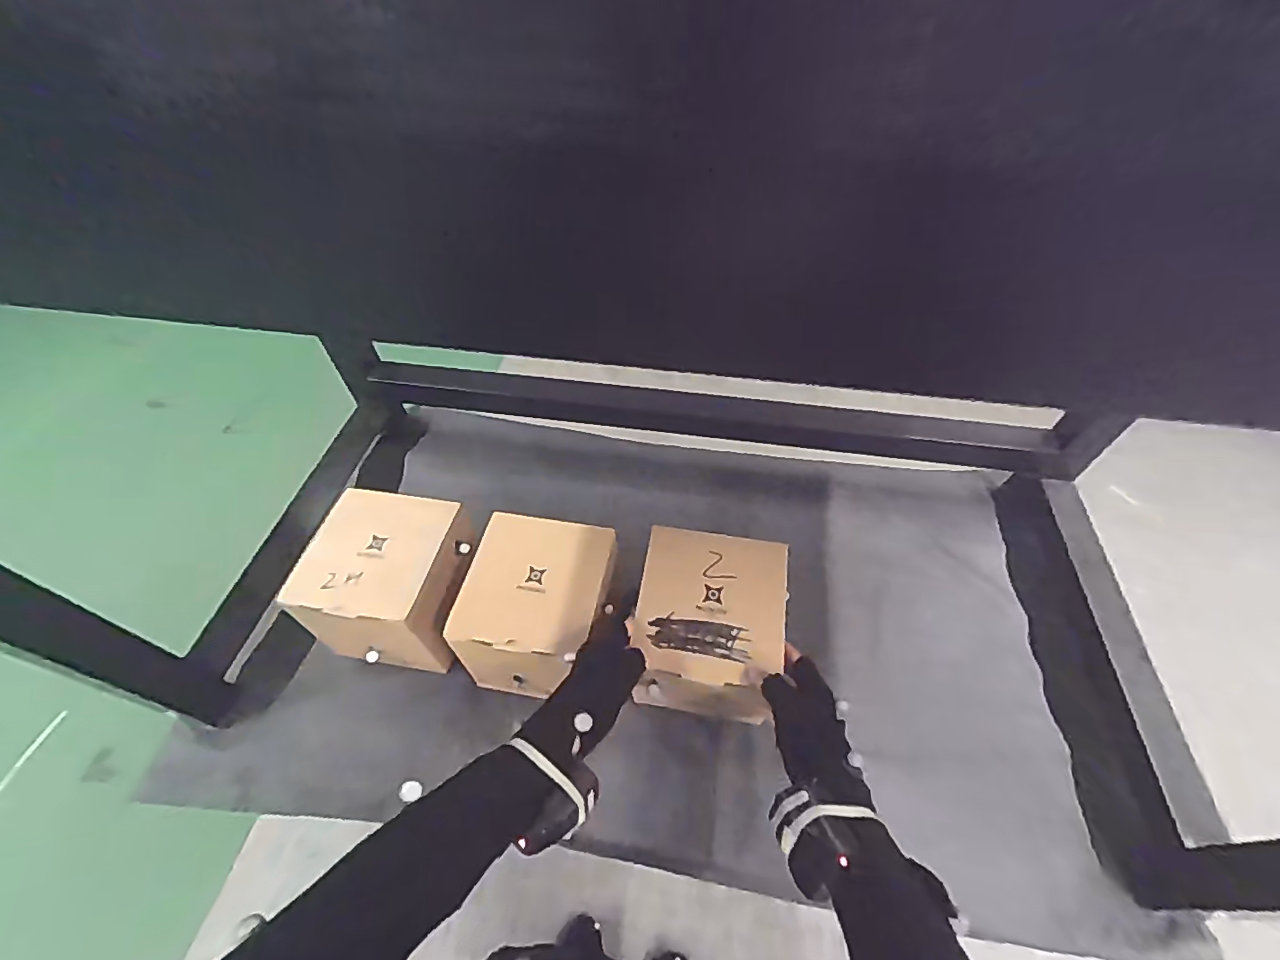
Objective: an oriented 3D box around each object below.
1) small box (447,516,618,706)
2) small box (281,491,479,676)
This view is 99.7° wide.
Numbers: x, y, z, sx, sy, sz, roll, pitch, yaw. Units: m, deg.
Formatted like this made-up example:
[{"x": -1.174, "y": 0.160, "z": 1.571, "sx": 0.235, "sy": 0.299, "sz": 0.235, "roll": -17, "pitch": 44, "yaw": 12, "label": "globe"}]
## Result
[{"x": -0.126, "y": 0.174, "z": 0.714, "sx": 0.168, "sy": 0.176, "sz": 0.179, "roll": 8, "pitch": 52, "yaw": 6, "label": "small box"}, {"x": -0.329, "y": 0.142, "z": 0.739, "sx": 0.168, "sy": 0.176, "sz": 0.179, "roll": 7, "pitch": 51, "yaw": 7, "label": "small box"}]
